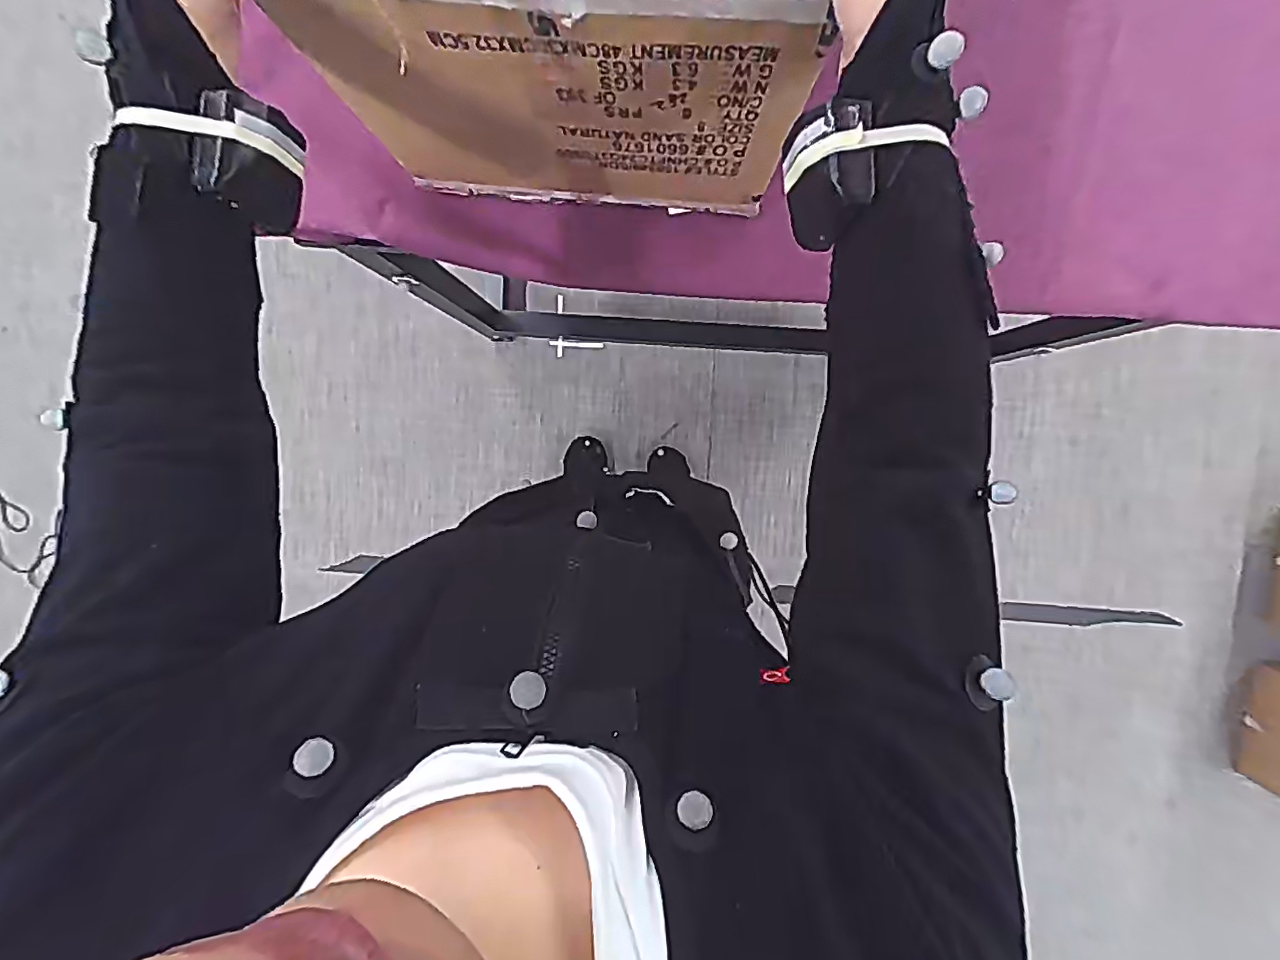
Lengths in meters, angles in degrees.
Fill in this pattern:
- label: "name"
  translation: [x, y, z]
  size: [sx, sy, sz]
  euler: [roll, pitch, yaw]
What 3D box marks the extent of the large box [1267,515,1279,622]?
- label: "large box"
  translation: [1.795, 0.223, 1.210]
  size: [0.408, 0.320, 0.320]
  euler: [2, 94, 2]
